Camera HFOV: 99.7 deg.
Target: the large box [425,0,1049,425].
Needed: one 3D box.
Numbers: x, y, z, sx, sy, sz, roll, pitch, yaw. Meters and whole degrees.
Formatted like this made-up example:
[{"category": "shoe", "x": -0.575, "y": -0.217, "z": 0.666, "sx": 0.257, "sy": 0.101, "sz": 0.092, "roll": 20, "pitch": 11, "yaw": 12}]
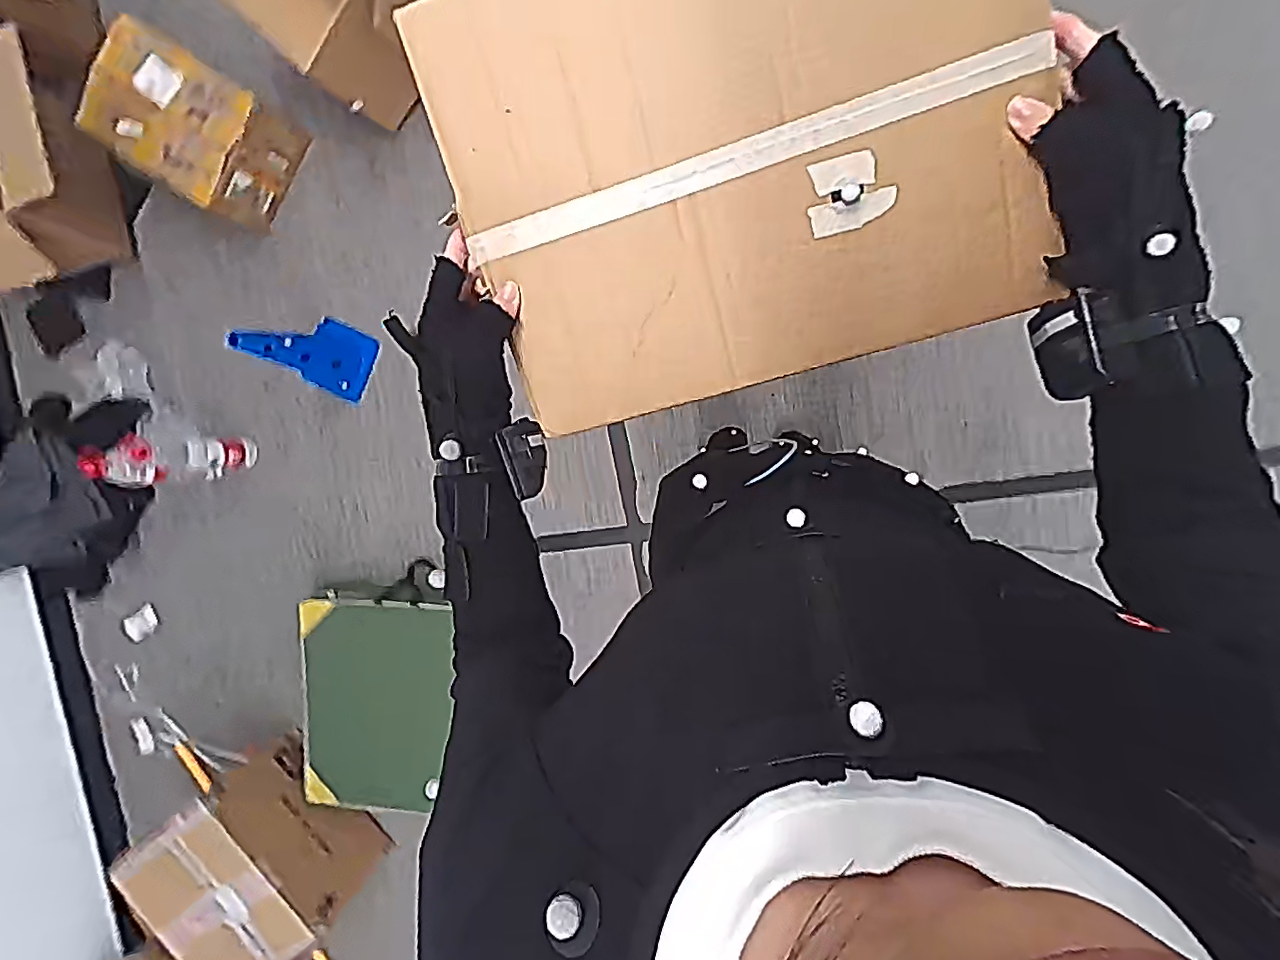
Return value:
[{"category": "large box", "x": 0.085, "y": -0.277, "z": 0.534, "sx": 0.408, "sy": 0.320, "sz": 0.320, "roll": -13, "pitch": 106, "yaw": 10}]
